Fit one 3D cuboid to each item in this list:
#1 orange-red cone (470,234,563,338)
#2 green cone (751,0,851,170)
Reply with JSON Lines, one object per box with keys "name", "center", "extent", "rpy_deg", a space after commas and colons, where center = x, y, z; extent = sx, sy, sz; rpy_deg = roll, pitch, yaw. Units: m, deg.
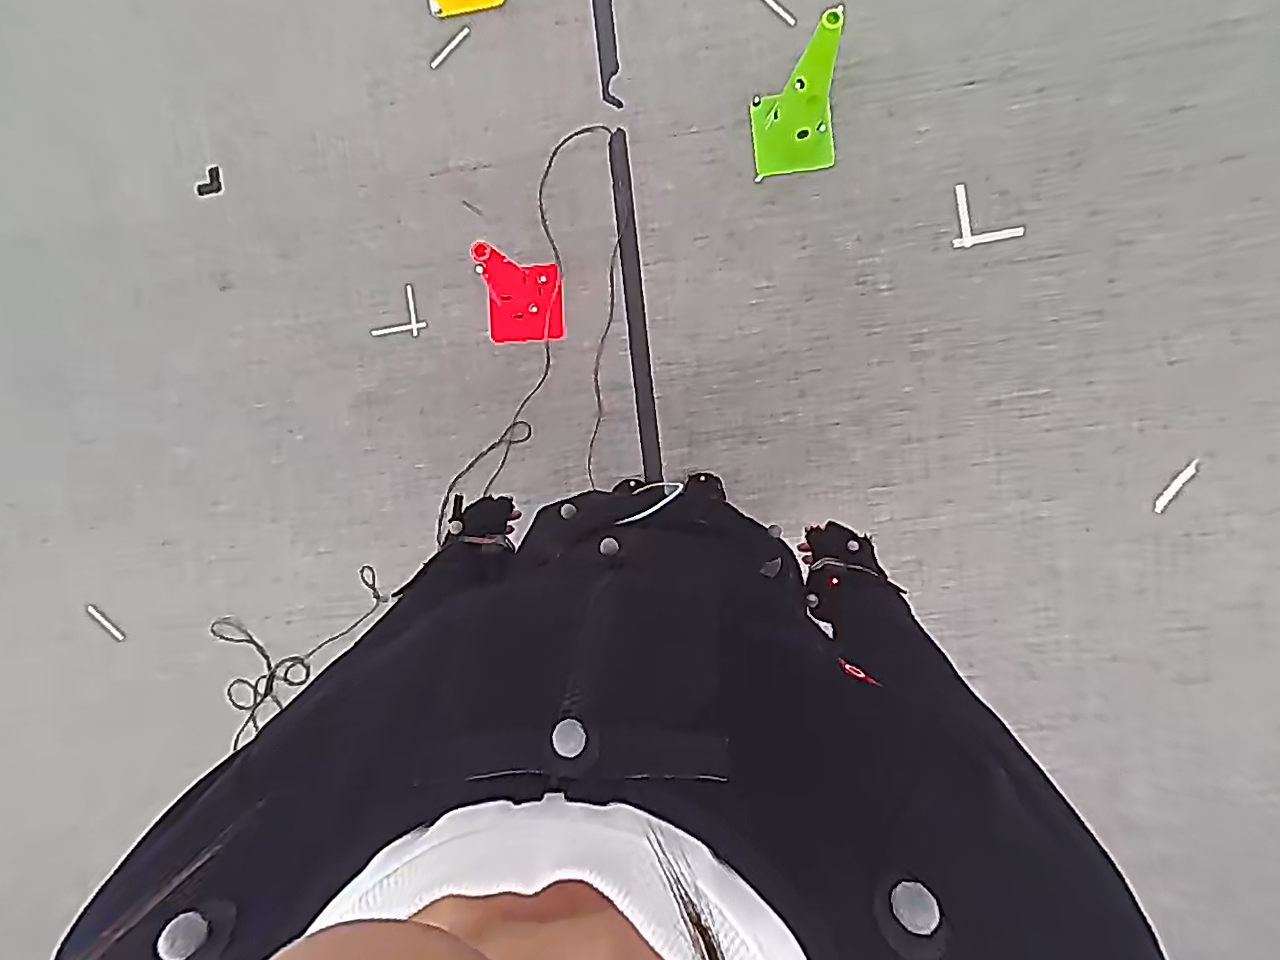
{"name": "orange-red cone", "center": [-0.314, -0.475, 1.259], "extent": [0.199, 0.360, 0.198], "rpy_deg": [-2, 90, 4]}
{"name": "green cone", "center": [0.383, -0.892, 1.204], "extent": [0.202, 0.368, 0.200], "rpy_deg": [-6, 91, 2]}
